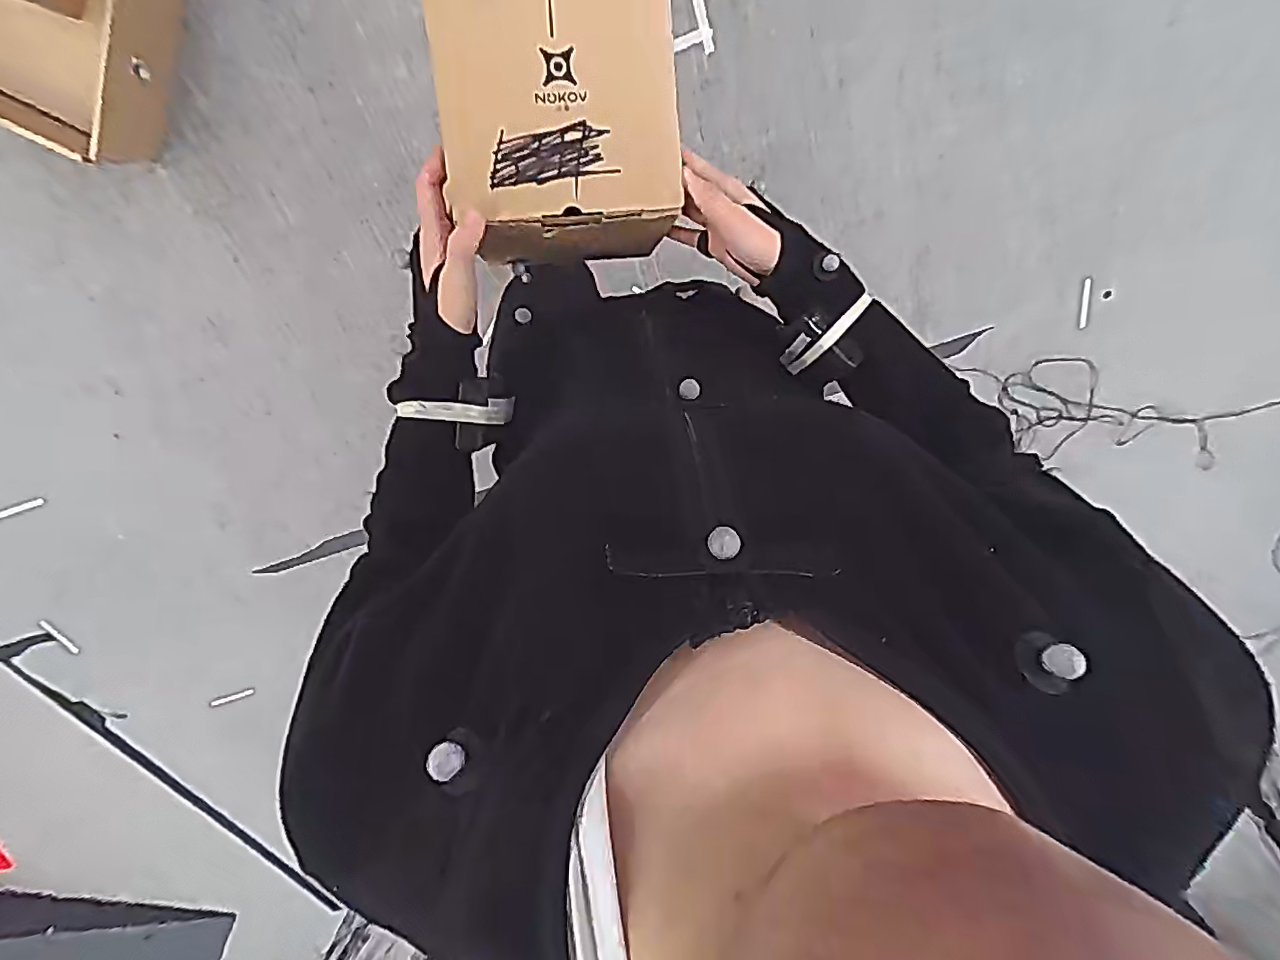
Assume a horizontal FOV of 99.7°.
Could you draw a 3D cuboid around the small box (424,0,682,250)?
[{"bbox_3d":[-0.065,-0.293,0.440,0.168,0.176,0.179,-6,102,-7],"label":"small box"}]
